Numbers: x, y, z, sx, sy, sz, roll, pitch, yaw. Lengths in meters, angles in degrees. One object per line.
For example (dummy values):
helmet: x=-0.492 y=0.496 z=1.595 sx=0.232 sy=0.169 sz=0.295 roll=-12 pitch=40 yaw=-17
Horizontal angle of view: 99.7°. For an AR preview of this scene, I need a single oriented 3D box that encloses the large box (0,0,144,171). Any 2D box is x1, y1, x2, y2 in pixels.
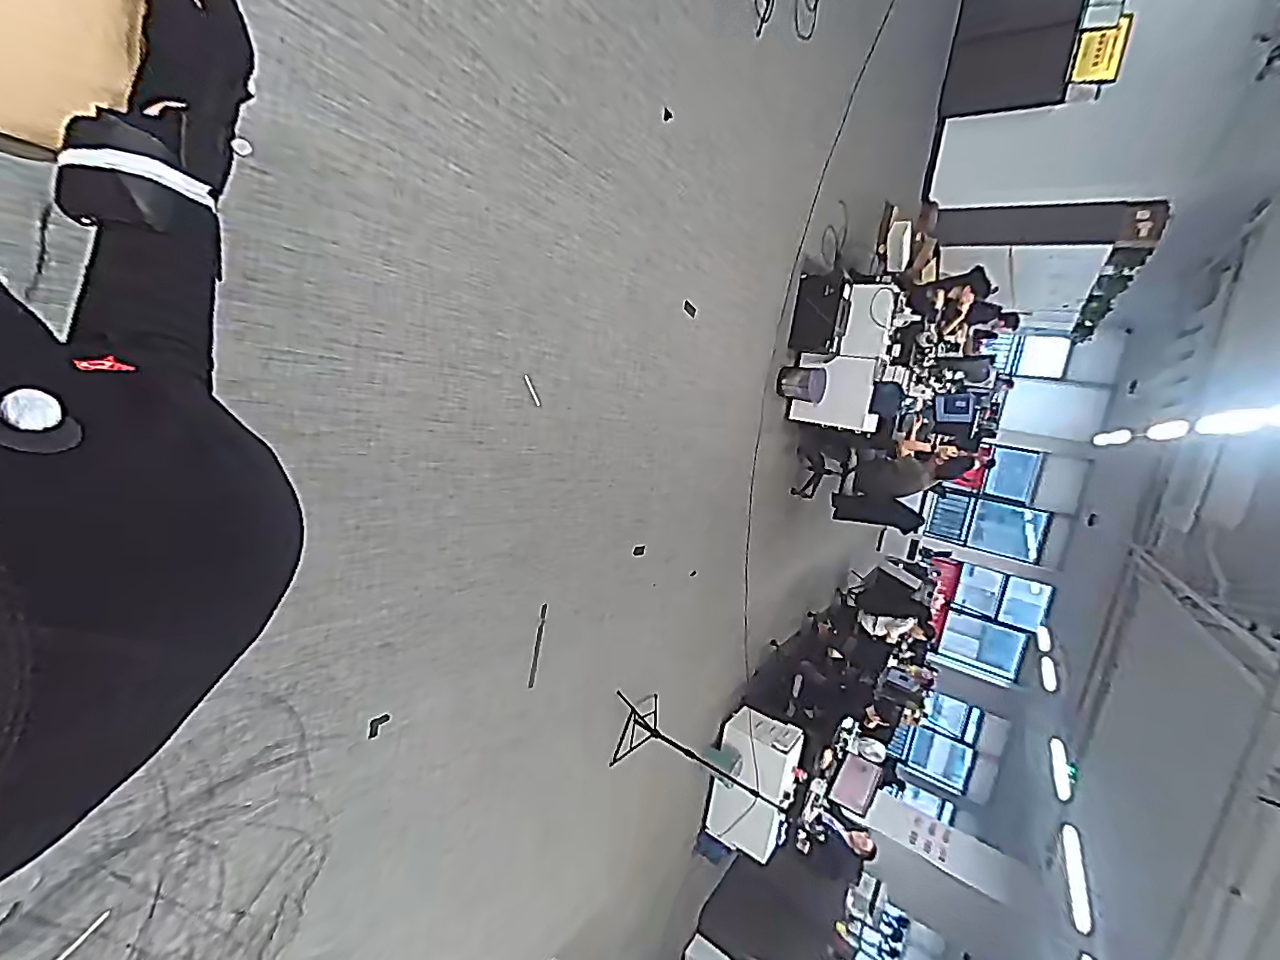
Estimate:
large box: x=-0.585 y=-0.424 z=0.295 sx=0.408 sy=0.320 sz=0.320 roll=-4 pitch=114 yaw=-59
